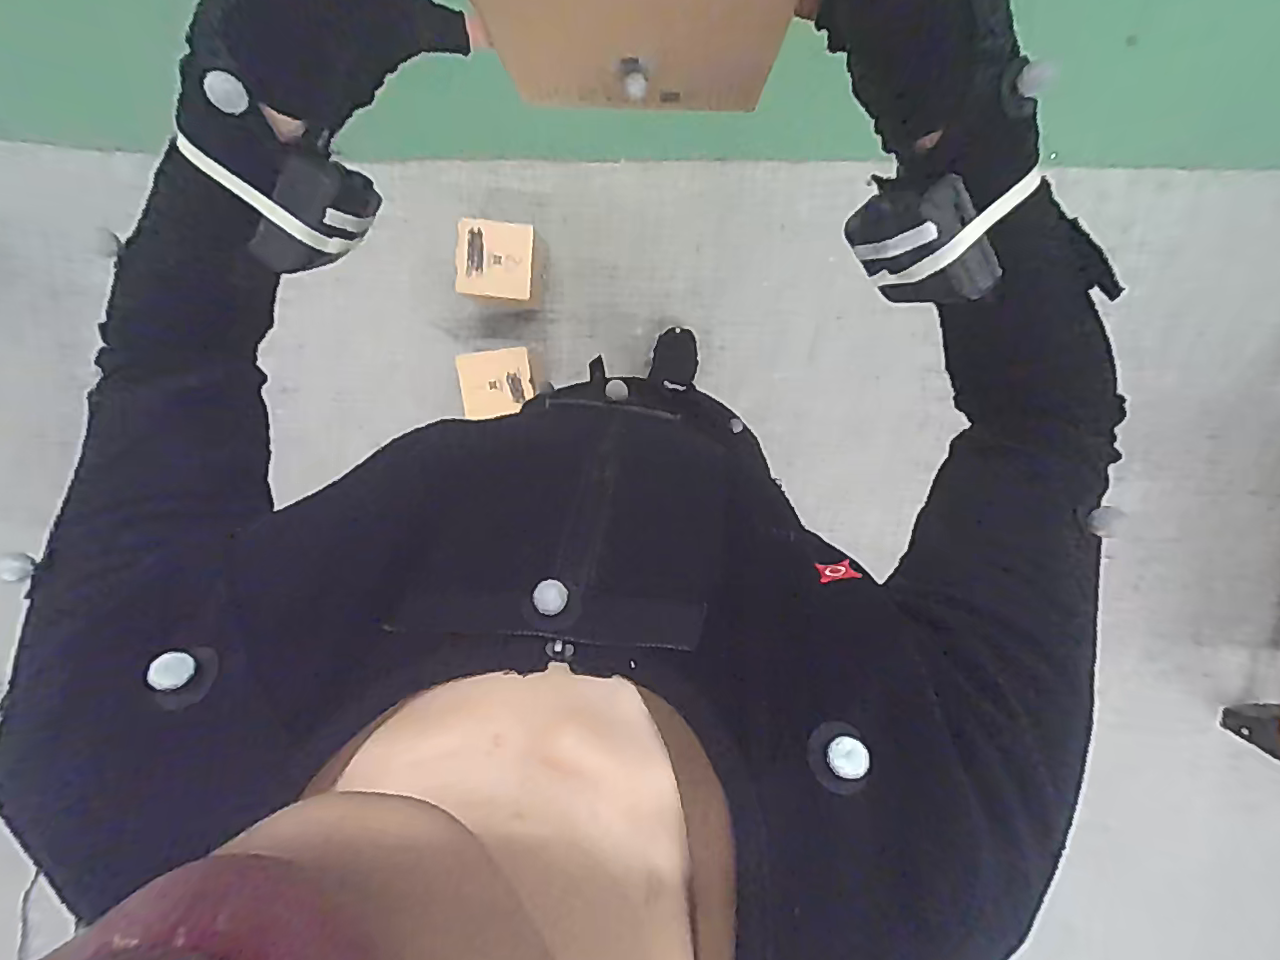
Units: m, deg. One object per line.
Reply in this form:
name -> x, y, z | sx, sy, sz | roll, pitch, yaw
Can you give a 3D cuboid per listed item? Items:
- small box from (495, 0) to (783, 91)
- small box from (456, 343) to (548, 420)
small box -> -0.001, -0.339, 0.274 | 0.168, 0.176, 0.179 | 3, 102, 2
small box -> -0.335, -0.246, 1.354 | 0.179, 0.176, 0.168 | -7, 99, 3
